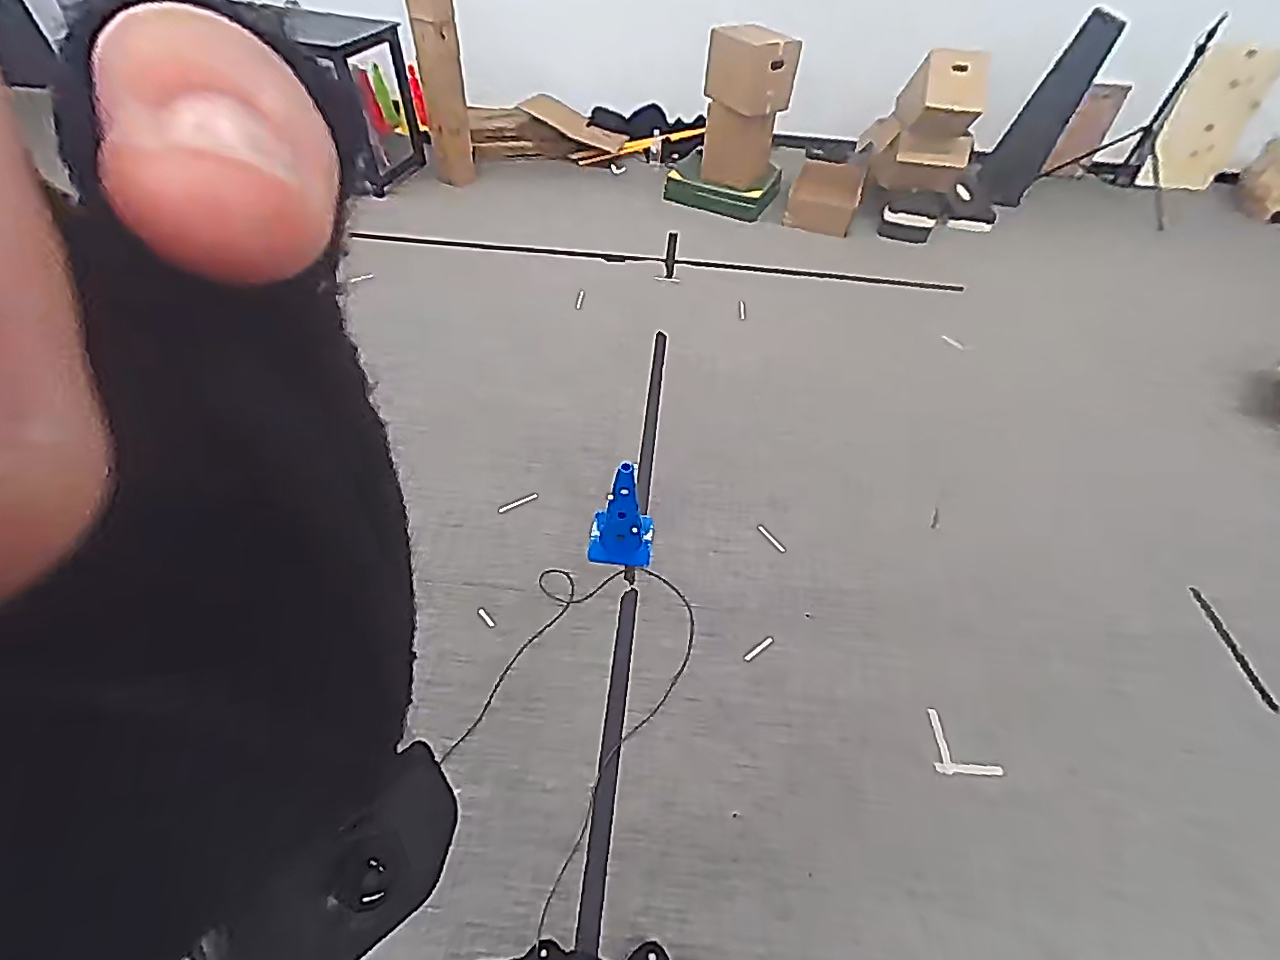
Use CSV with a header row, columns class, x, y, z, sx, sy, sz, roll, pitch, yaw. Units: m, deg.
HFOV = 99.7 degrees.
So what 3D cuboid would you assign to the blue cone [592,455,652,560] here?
class,x,y,z,sx,sy,sz,roll,pitch,yaw
blue cone,-0.052,0.070,1.621,0.193,0.380,0.192,5,50,1
